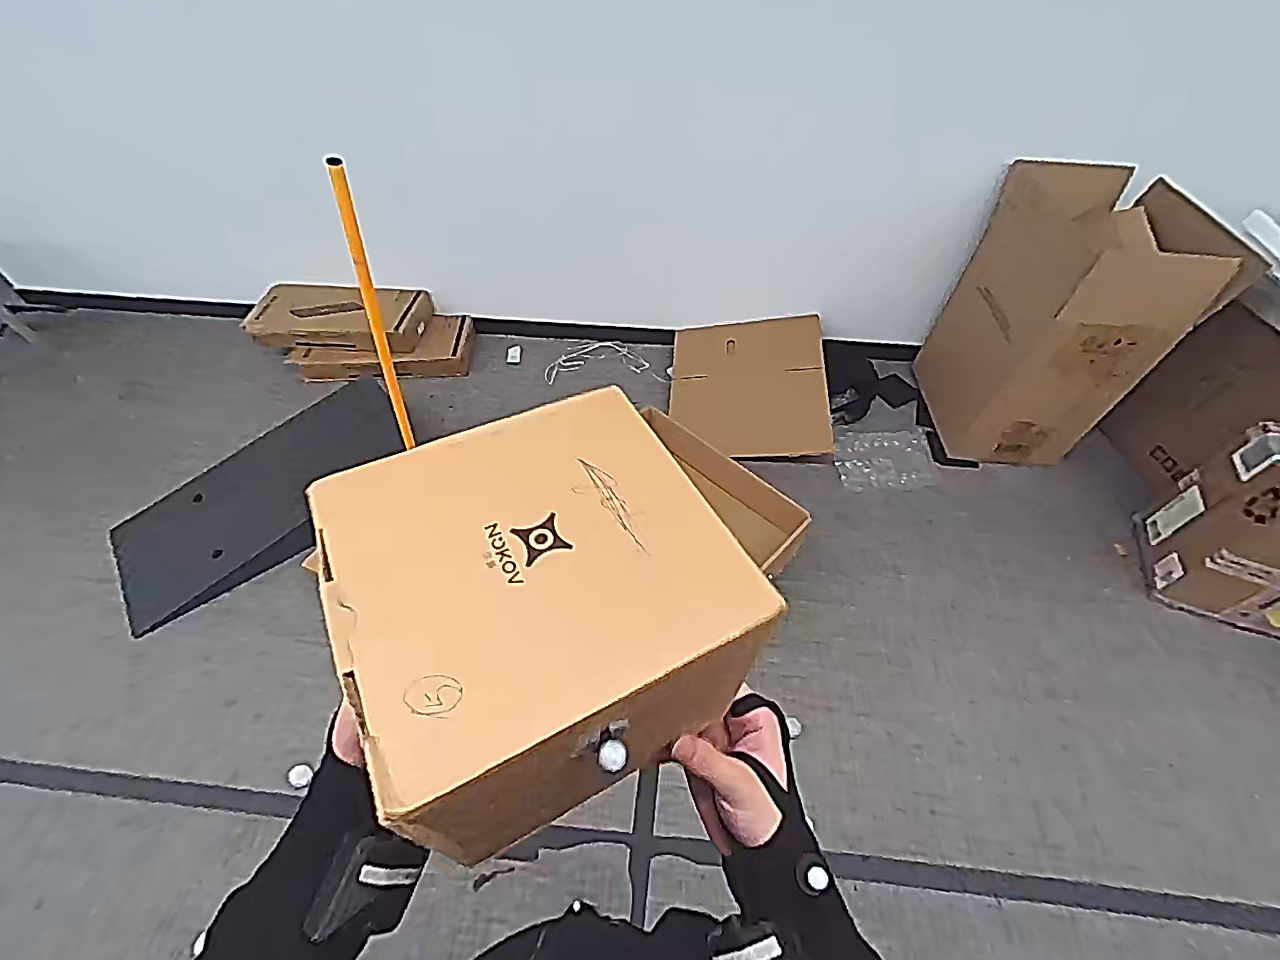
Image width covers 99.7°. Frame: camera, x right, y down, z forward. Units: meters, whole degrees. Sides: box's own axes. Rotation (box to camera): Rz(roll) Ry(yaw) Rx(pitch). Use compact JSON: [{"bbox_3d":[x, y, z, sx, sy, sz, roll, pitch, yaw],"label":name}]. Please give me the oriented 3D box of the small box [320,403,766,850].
[{"bbox_3d":[-0.055,0.088,0.328,0.179,0.176,0.168,-23,56,-22],"label":"small box"}]
